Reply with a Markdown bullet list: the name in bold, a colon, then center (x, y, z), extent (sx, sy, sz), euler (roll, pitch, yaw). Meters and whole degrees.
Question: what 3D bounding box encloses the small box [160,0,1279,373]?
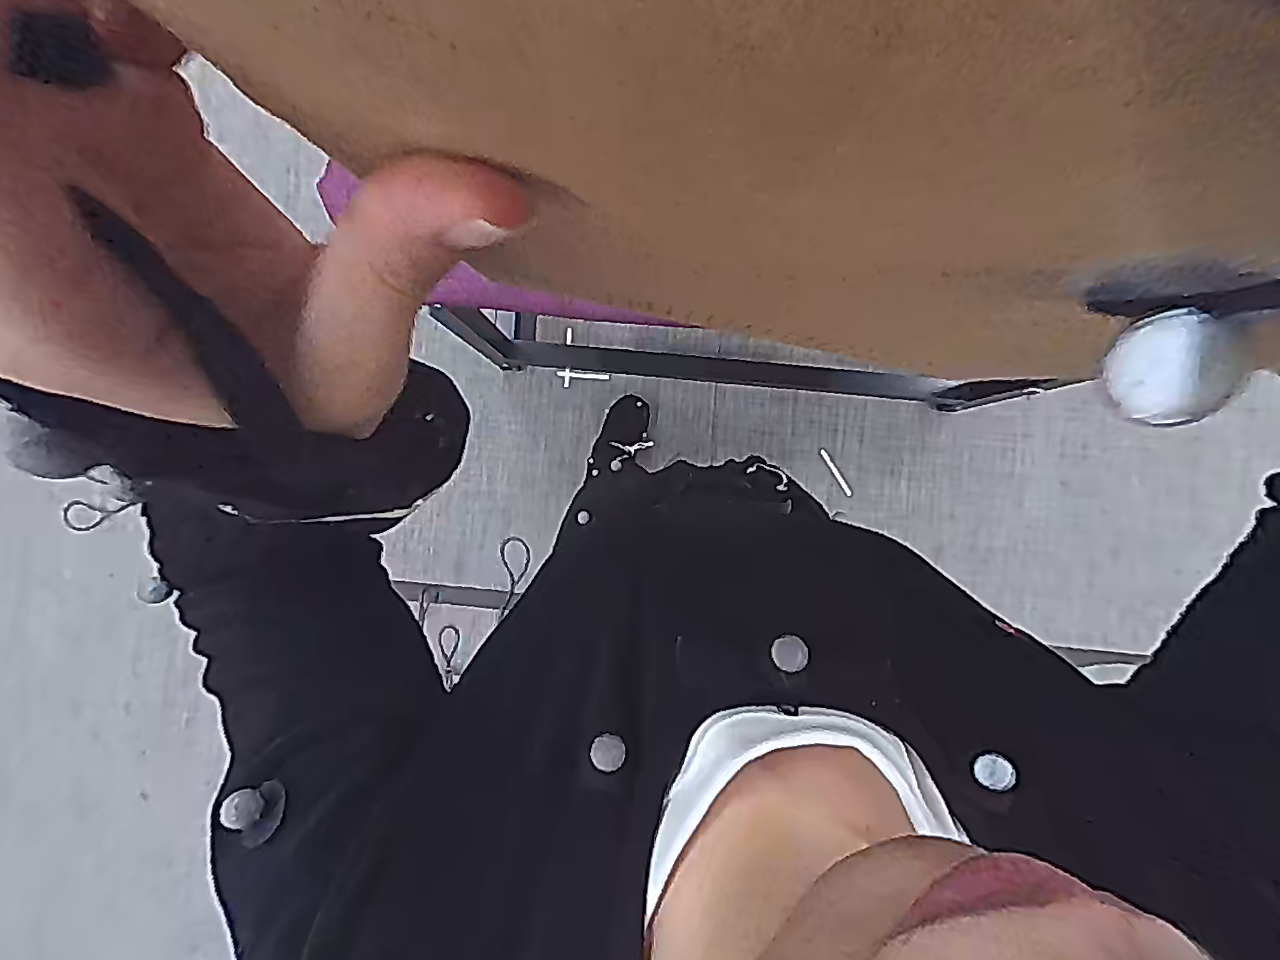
- **small box**: center (0.051, -0.117, 0.097), extent (0.179, 0.176, 0.168), euler (12, 98, -3)
